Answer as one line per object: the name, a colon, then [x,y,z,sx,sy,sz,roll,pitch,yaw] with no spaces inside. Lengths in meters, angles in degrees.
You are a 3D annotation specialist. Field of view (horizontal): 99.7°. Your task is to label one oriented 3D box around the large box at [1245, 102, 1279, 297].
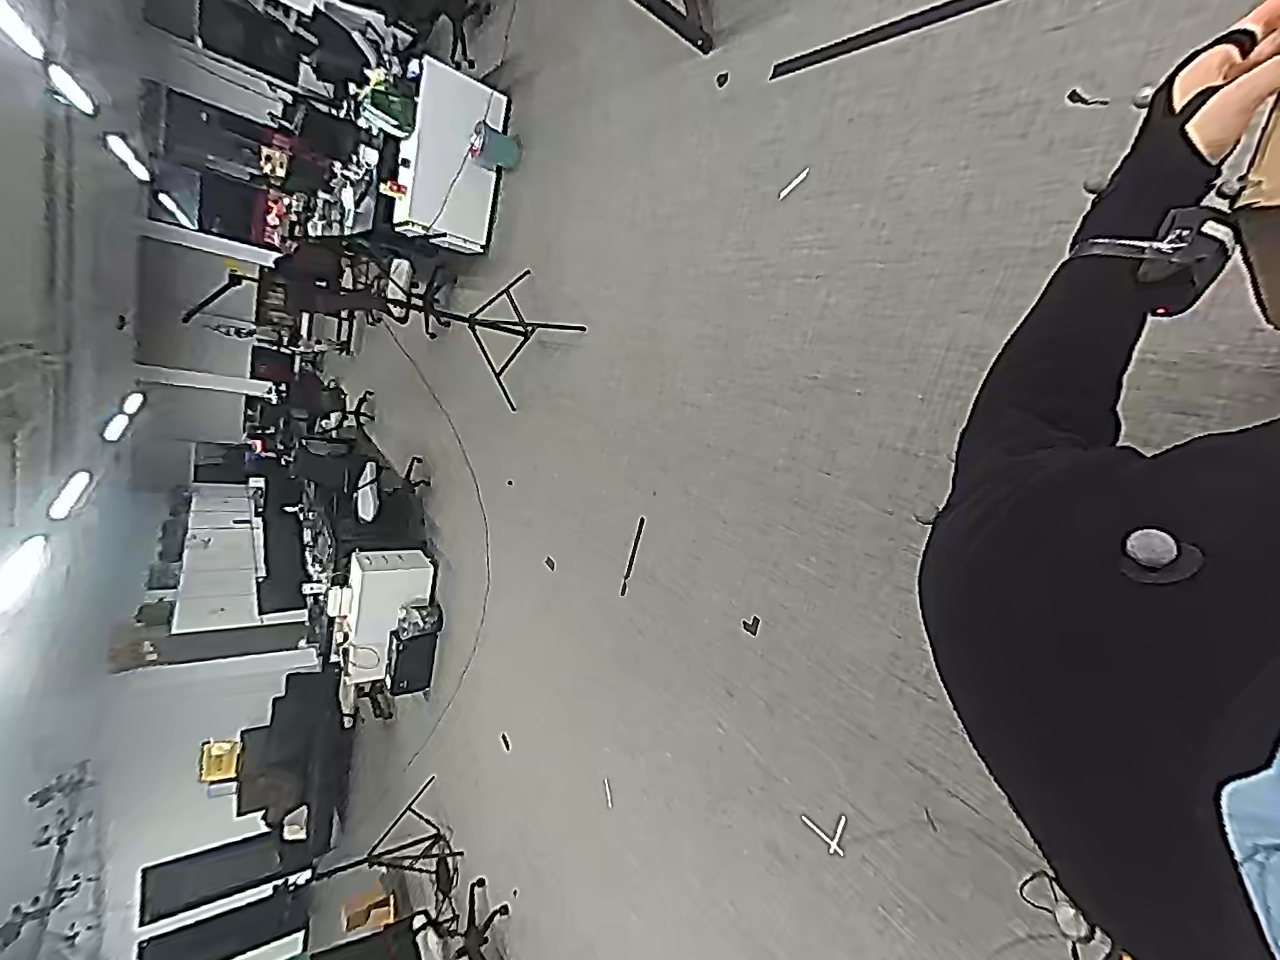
large box: [0.704,-0.279,0.304,0.408,0.320,0.320,24,101,53]
